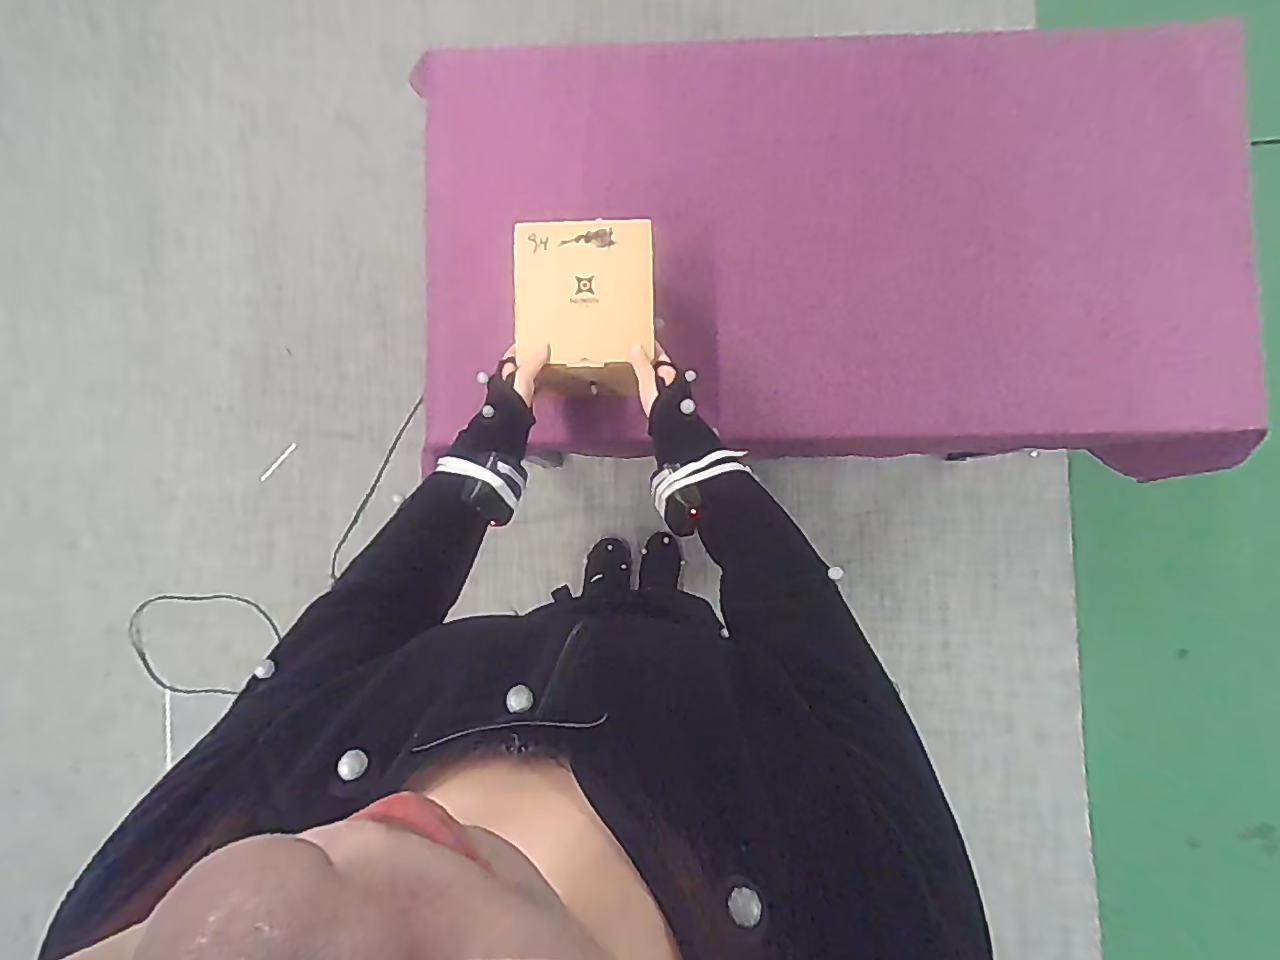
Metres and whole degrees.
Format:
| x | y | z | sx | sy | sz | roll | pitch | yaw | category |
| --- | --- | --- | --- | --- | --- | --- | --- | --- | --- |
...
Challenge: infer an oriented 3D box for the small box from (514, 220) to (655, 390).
| x | y | z | sx | sy | sz | roll | pitch | yaw | category |
| --- | --- | --- | --- | --- | --- | --- | --- | --- | --- |
| -0.064 | -0.218 | 0.717 | 0.168 | 0.176 | 0.179 | -1 | 87 | 1 | small box |
